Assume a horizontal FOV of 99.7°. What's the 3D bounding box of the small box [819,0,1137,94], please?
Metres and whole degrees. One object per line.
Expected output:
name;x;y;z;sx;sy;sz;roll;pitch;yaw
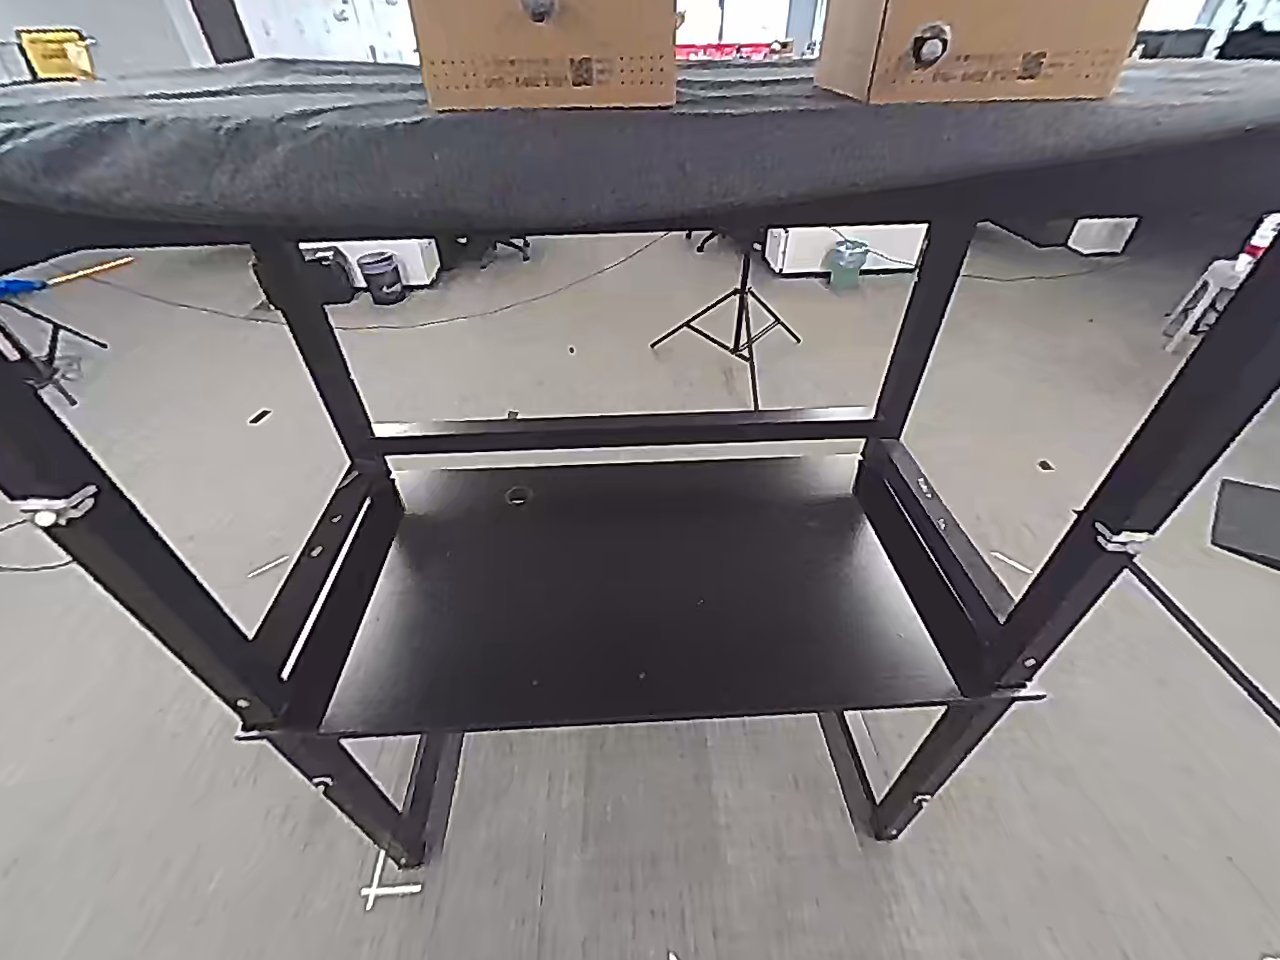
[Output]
small box;0.240;-0.382;0.386;0.168;0.176;0.179;0;38;2

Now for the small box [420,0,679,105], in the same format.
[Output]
small box;-0.059;-0.369;0.376;0.168;0.176;0.179;-2;38;0
